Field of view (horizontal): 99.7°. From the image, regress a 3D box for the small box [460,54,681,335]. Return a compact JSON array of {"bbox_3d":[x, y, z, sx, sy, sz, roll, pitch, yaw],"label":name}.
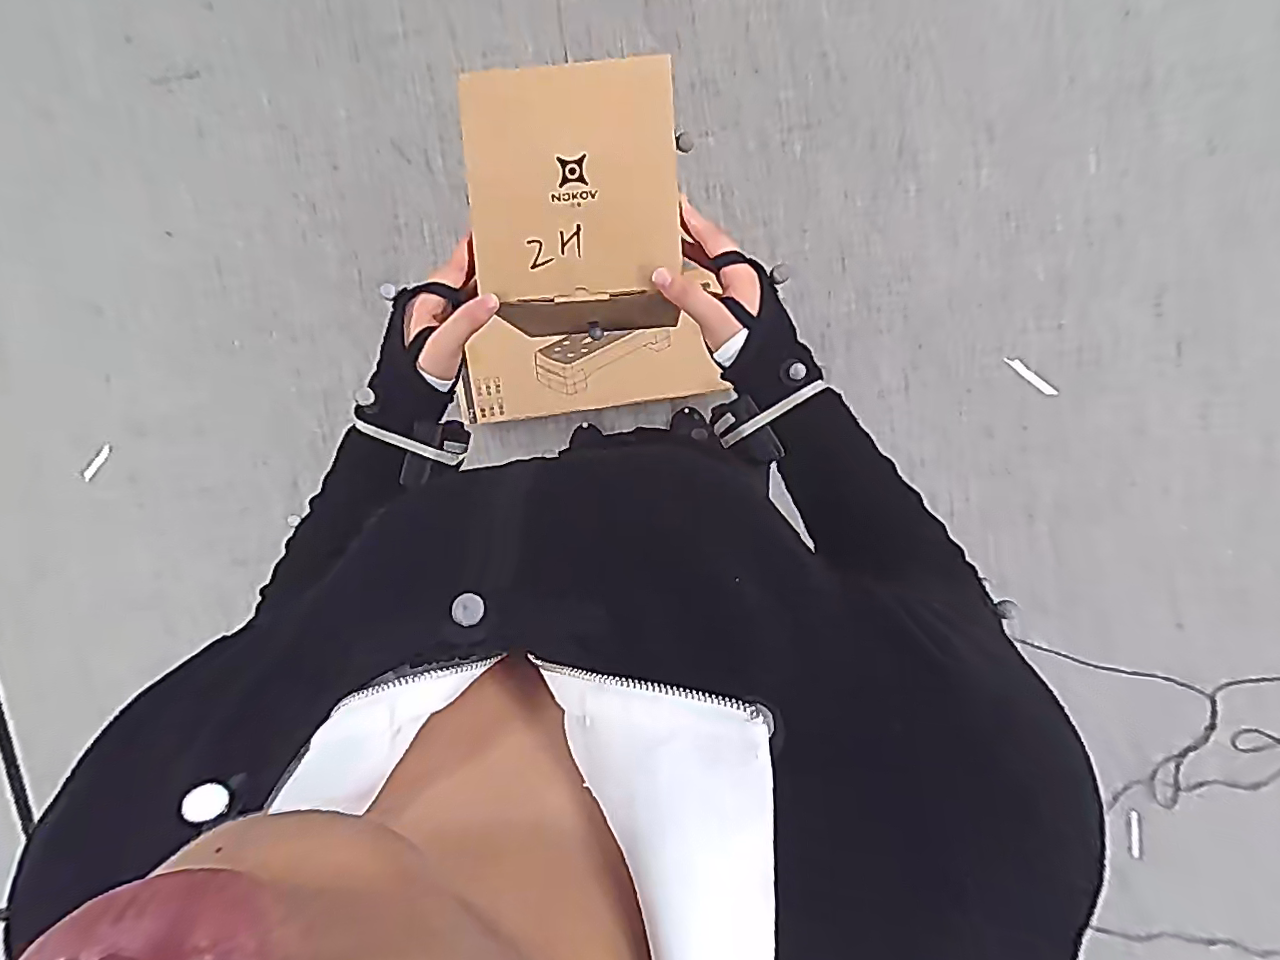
[{"bbox_3d":[-0.051,-0.240,0.499,0.168,0.176,0.179,-3,96,3],"label":"small box"}]
